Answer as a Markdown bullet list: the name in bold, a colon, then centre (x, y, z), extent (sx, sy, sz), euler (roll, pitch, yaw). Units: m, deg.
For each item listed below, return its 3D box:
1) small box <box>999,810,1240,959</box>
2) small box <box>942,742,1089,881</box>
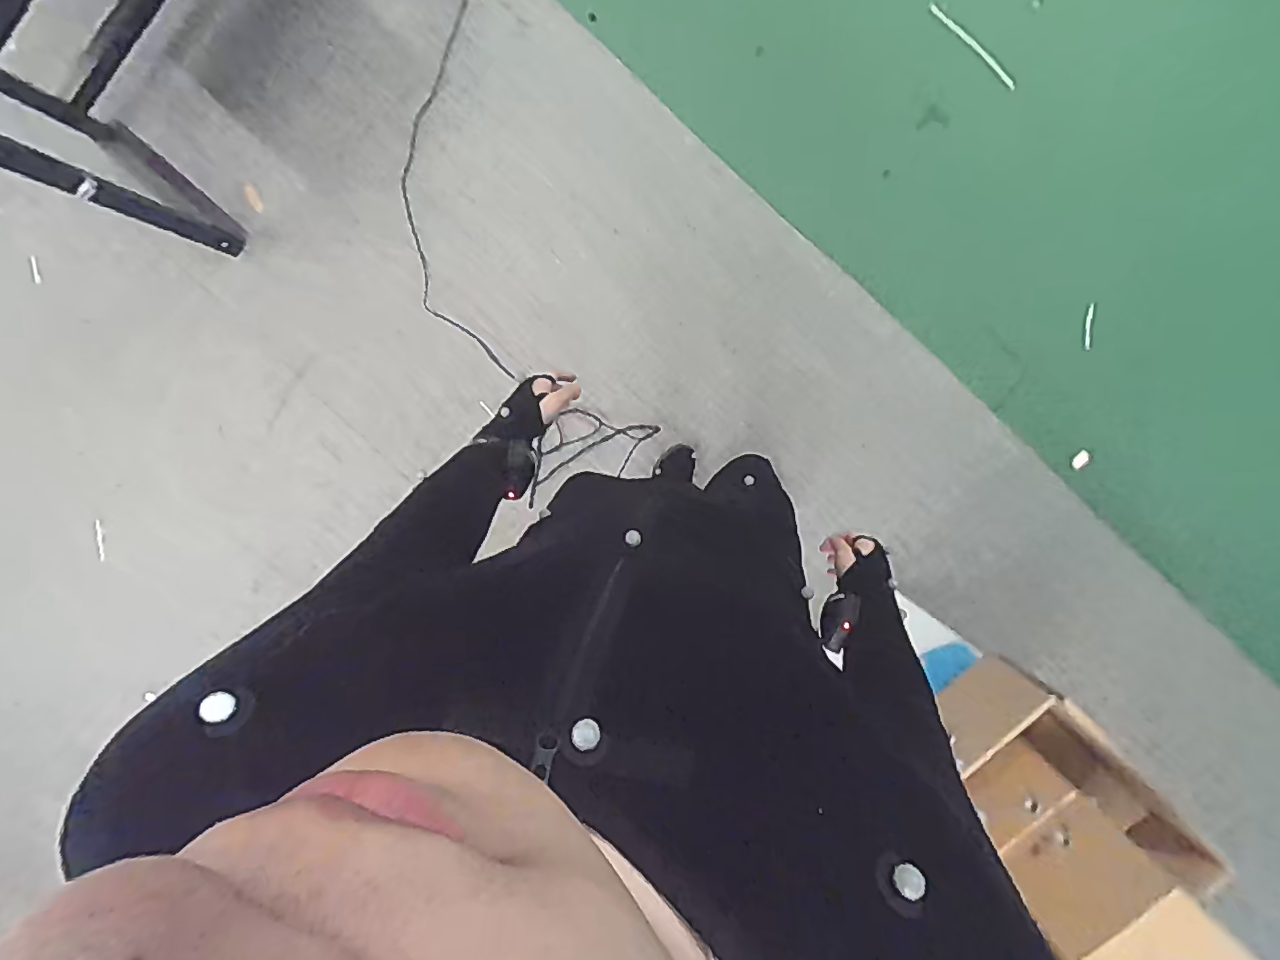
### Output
- **small box**: centre (0.645, 0.600, 0.727), extent (0.179, 0.176, 0.168), euler (44, 97, -1)
- **small box**: centre (0.650, 0.580, 0.890), extent (0.179, 0.176, 0.168), euler (44, 96, -2)
